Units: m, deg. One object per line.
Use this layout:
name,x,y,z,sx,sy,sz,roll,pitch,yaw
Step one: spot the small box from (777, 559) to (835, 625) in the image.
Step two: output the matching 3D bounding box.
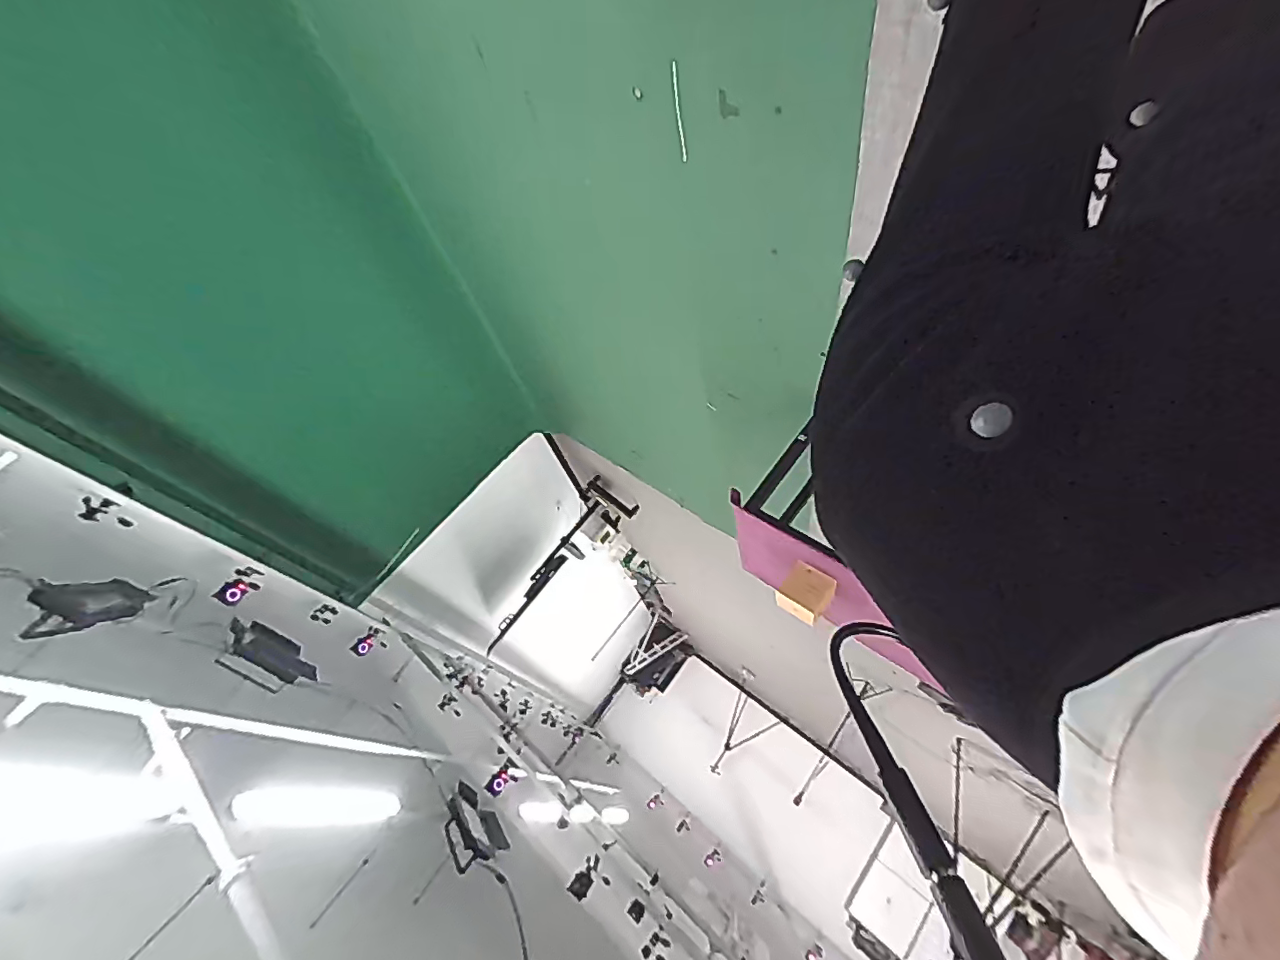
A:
small box,0.662,0.440,2.153,0.168,0.176,0.179,30,161,30
